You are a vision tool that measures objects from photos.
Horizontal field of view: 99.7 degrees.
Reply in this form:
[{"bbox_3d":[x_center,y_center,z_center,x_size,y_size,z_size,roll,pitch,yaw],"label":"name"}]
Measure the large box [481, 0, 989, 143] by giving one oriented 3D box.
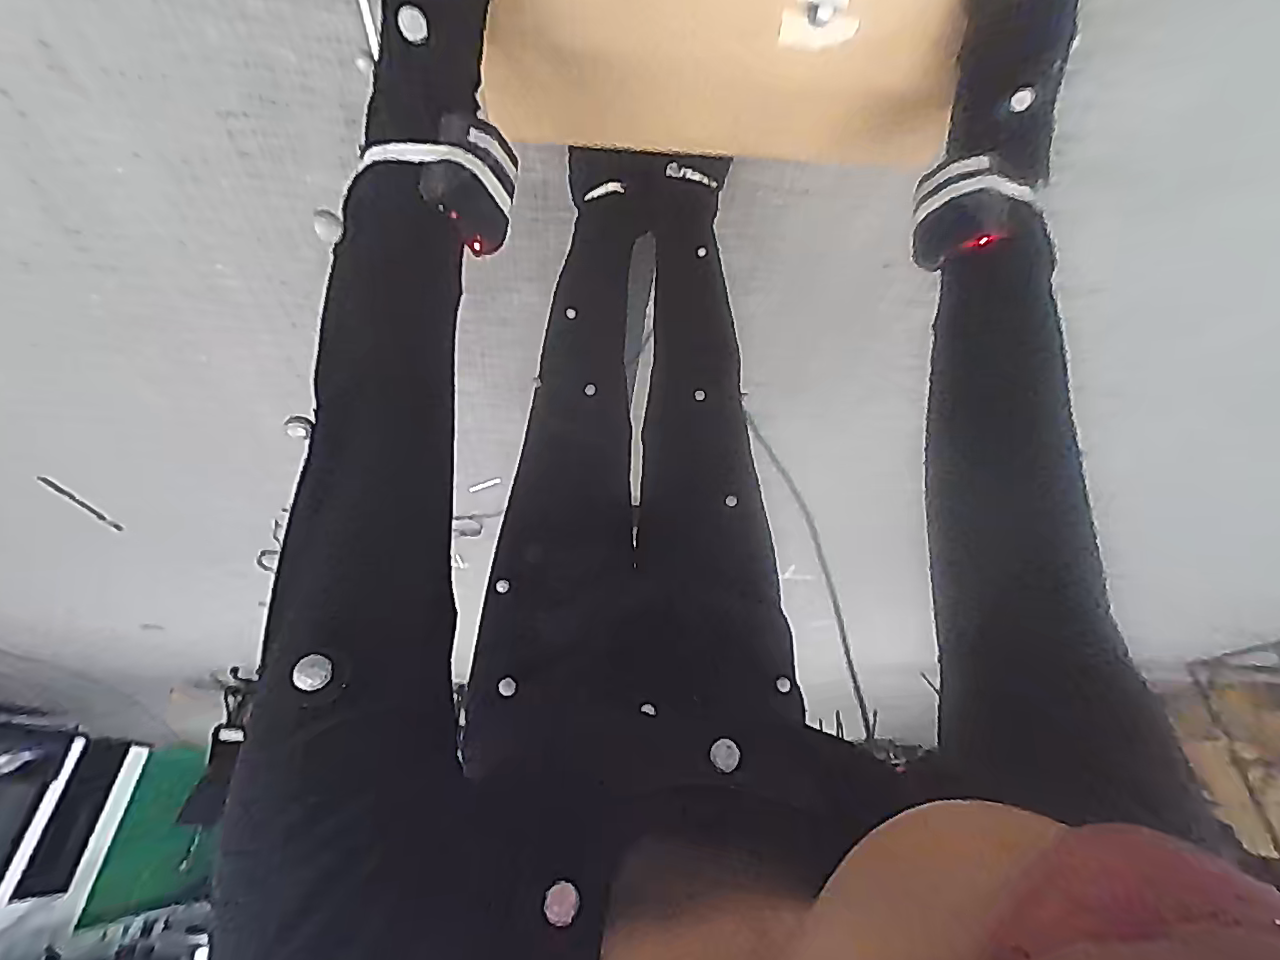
[{"bbox_3d":[0.075,-0.527,0.455,0.408,0.320,0.320,2,148,-1],"label":"large box"}]
